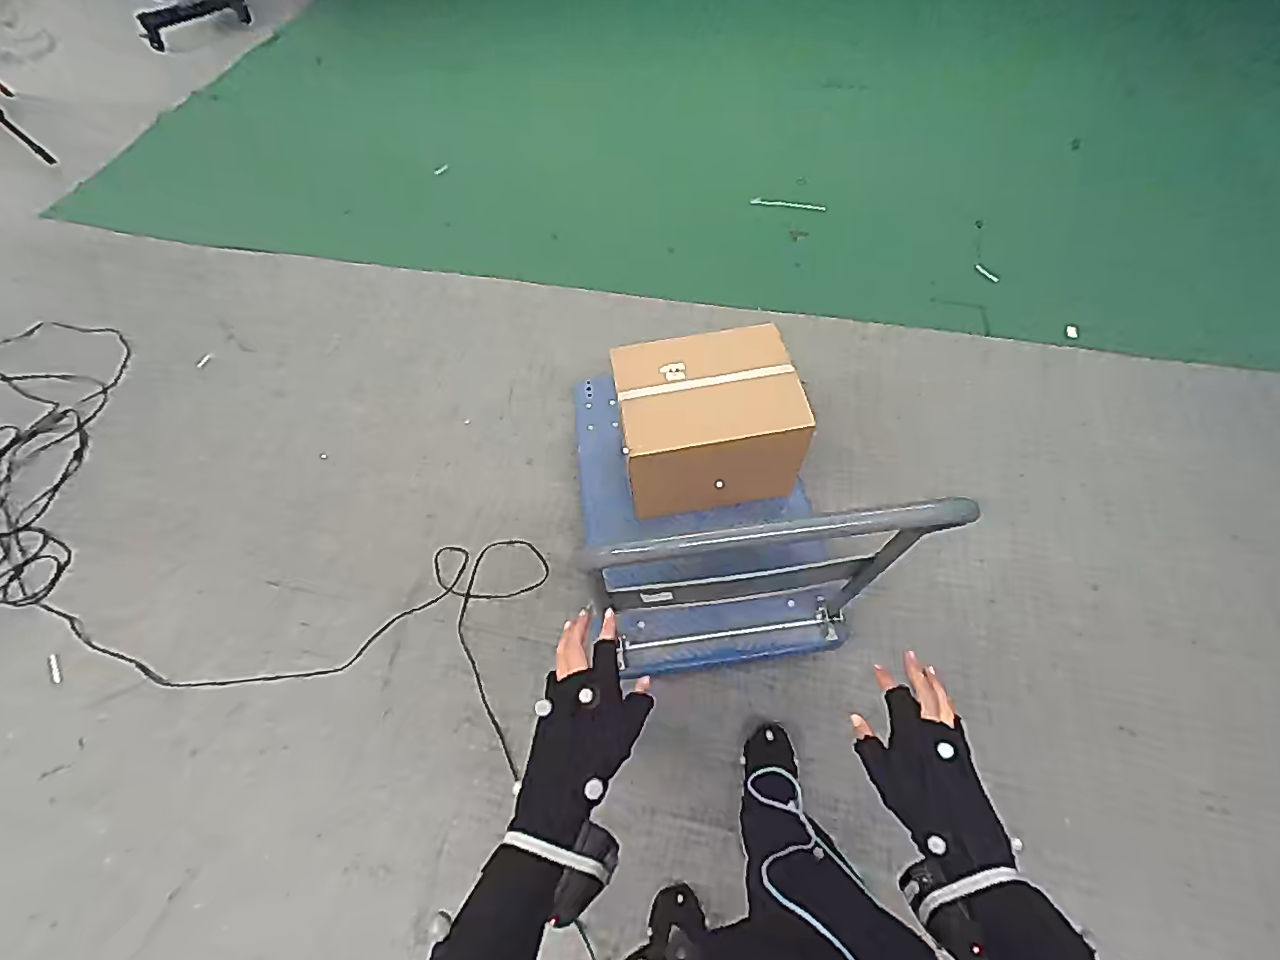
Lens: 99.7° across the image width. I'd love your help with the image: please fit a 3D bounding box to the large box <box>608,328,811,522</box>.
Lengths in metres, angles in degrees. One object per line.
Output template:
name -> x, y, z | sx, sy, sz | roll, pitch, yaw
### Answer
large box -> 0.156, -0.128, 1.350 | 0.408, 0.320, 0.320 | -11, 59, -2
